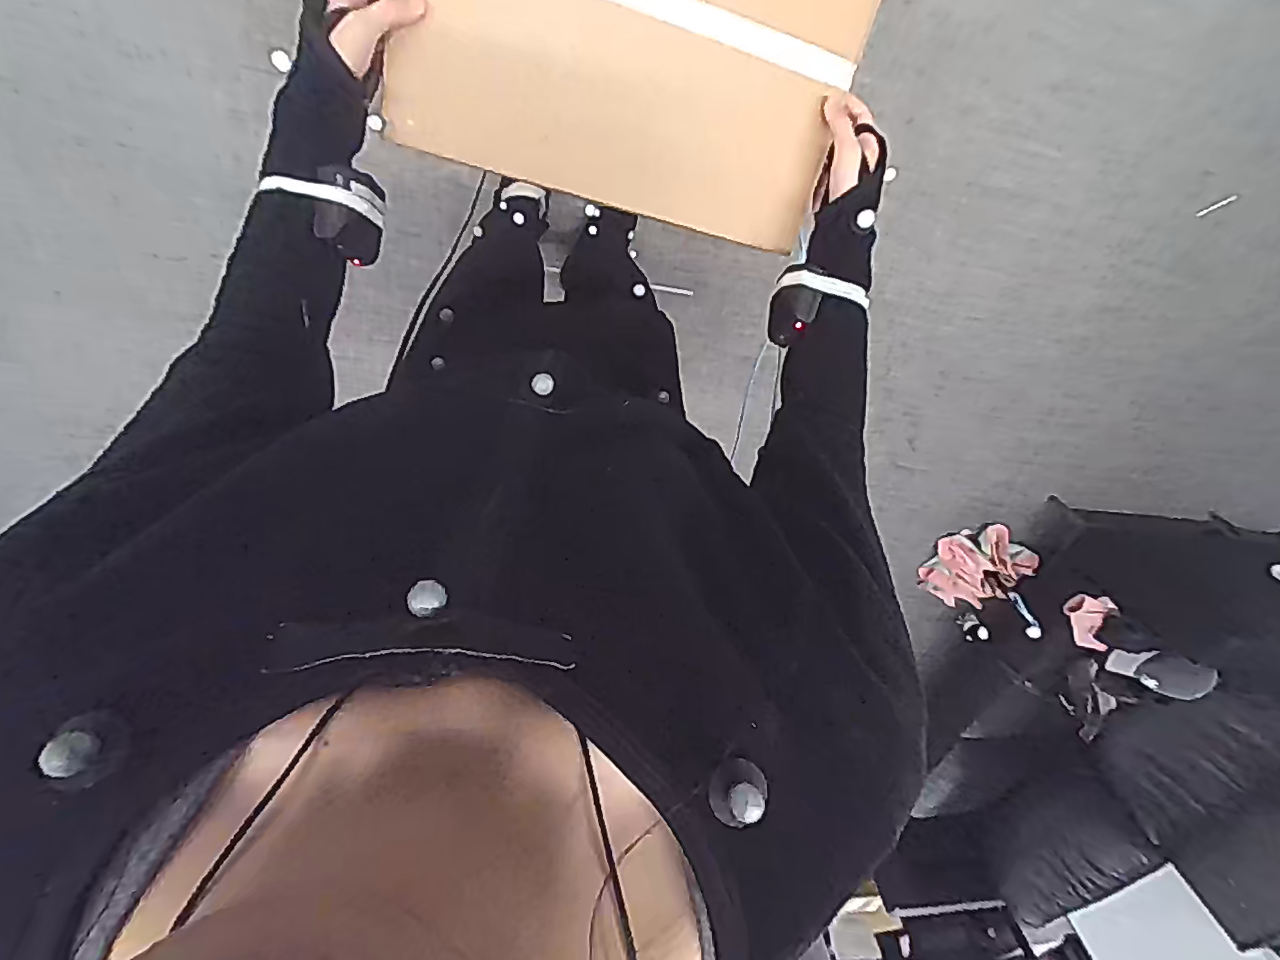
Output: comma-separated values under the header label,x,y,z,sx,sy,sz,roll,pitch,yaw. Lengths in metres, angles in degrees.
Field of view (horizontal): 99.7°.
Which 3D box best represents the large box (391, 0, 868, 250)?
label,x,y,z,sx,sy,sz,roll,pitch,yaw
large box,-0.019,-0.481,0.600,0.408,0.320,0.320,9,116,-15
